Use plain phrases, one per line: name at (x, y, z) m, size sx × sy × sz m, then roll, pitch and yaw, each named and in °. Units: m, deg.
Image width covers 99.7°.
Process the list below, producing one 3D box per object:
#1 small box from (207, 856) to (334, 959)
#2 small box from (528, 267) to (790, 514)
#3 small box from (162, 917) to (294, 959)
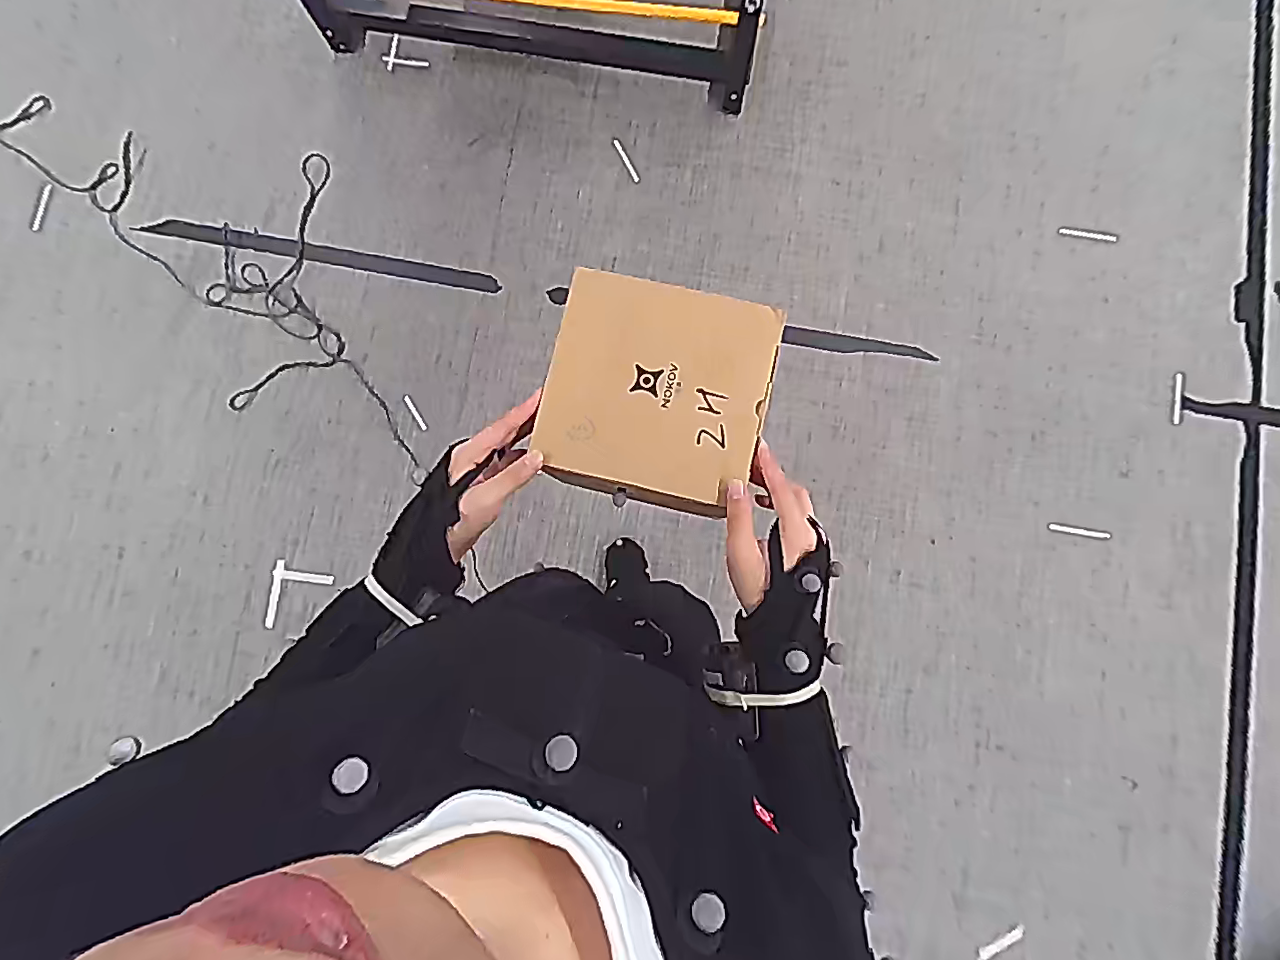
small box at (-0.780, 0.943, 1.141) m, size 0.168 × 0.176 × 0.179 m, roll 7°, pitch 84°, yaw 1°
small box at (0.018, -0.066, 0.501) m, size 0.179 × 0.176 × 0.168 m, roll 13°, pitch 85°, yaw 3°
small box at (-0.778, 0.941, 0.976) m, size 0.179 × 0.176 × 0.168 m, roll 13°, pitch 84°, yaw 0°
